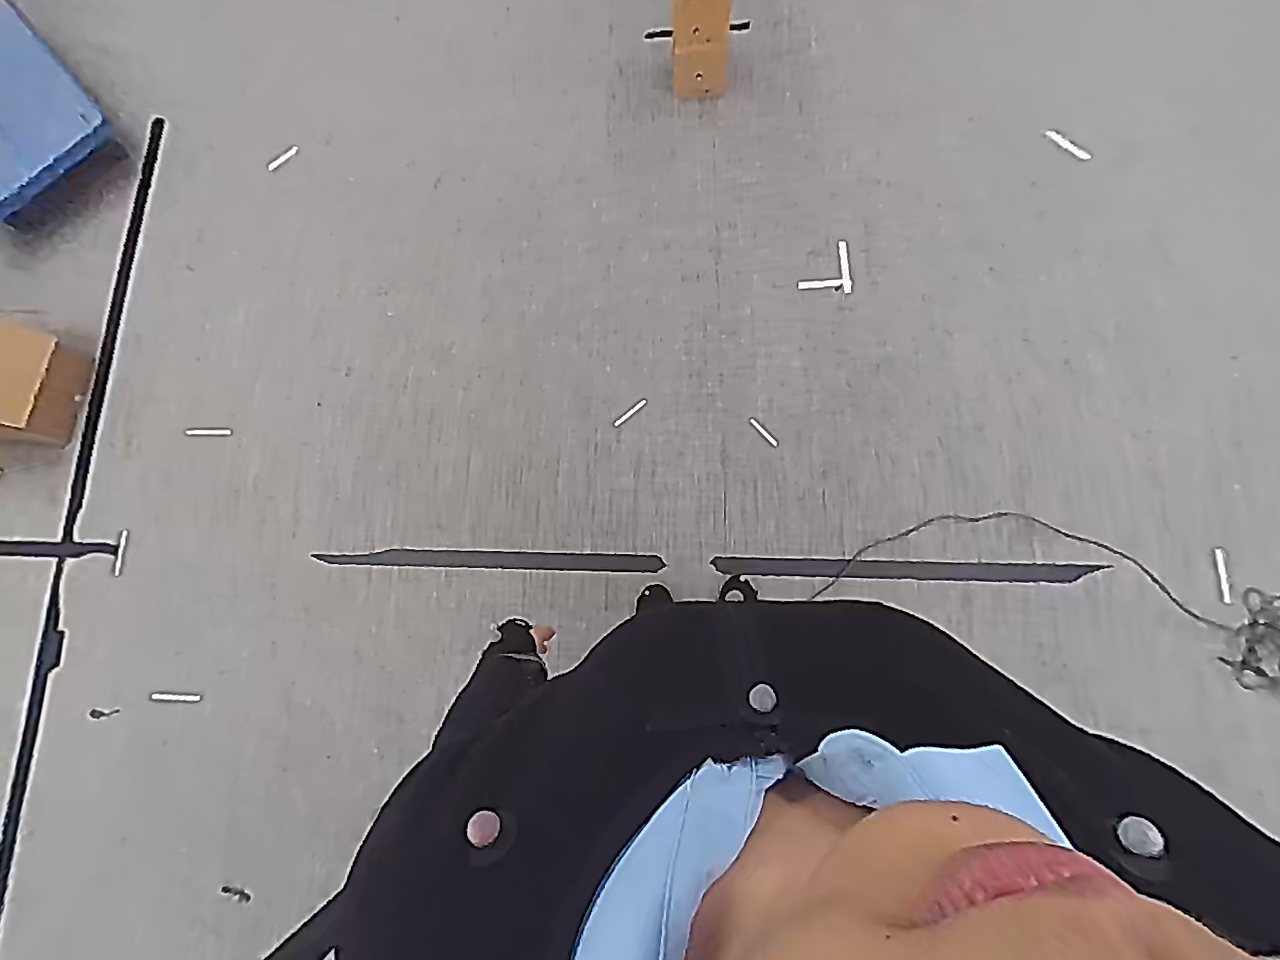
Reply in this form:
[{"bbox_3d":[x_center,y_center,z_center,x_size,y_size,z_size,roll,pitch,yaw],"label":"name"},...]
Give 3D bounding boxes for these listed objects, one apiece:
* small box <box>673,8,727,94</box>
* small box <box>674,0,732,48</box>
[{"bbox_3d":[0.195,-1.389,1.753,0.168,0.176,0.179,-3,78,5],"label":"small box"},{"bbox_3d":[0.183,-1.430,1.596,0.168,0.176,0.179,-1,79,6],"label":"small box"}]
